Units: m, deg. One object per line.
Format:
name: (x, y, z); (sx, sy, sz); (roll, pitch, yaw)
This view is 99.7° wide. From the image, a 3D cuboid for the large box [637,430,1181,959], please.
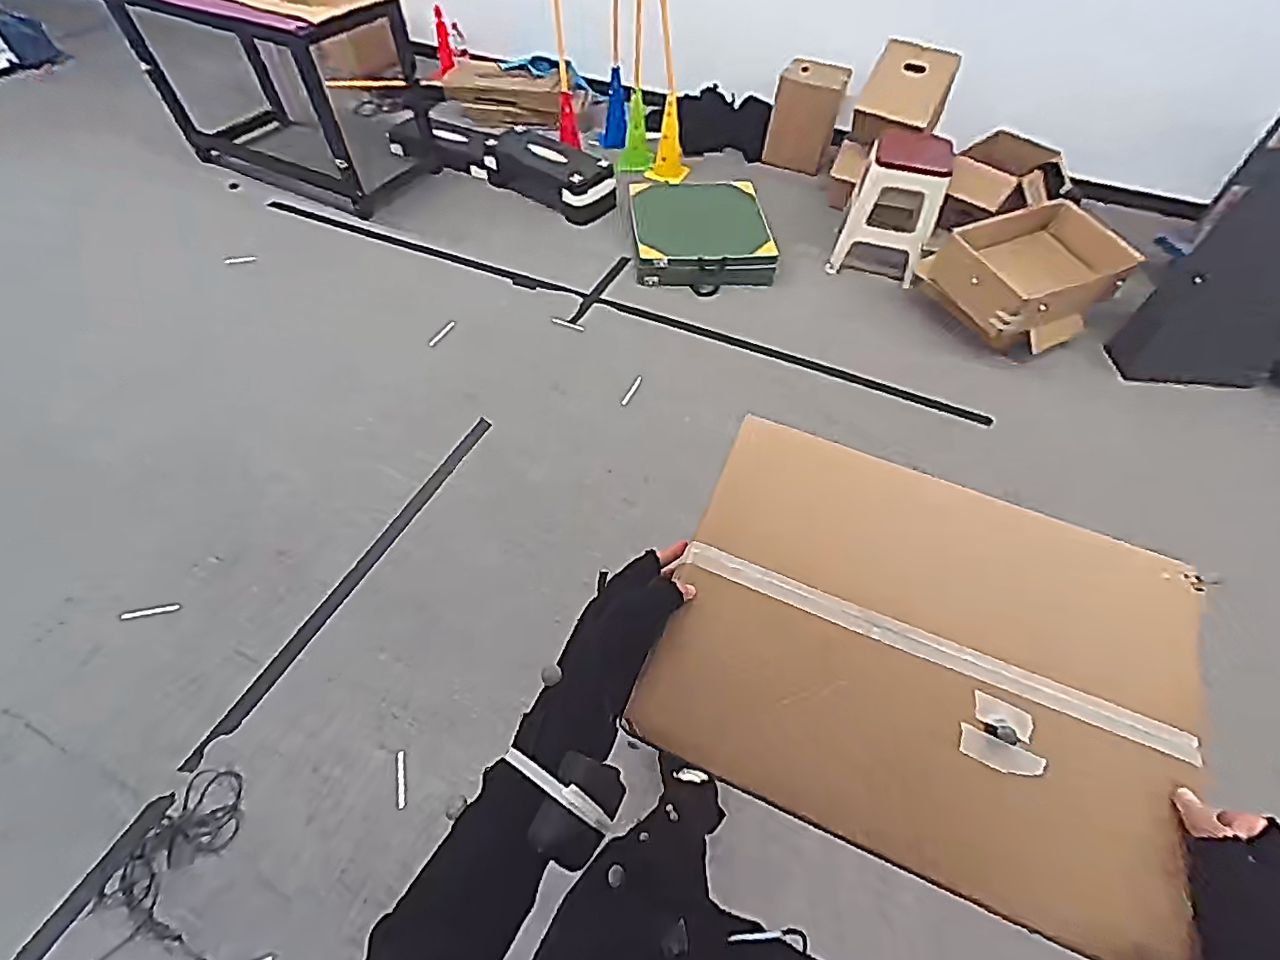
large box: (0.236, 0.204, 0.592); (0.408, 0.320, 0.320); (21, 68, 11)
